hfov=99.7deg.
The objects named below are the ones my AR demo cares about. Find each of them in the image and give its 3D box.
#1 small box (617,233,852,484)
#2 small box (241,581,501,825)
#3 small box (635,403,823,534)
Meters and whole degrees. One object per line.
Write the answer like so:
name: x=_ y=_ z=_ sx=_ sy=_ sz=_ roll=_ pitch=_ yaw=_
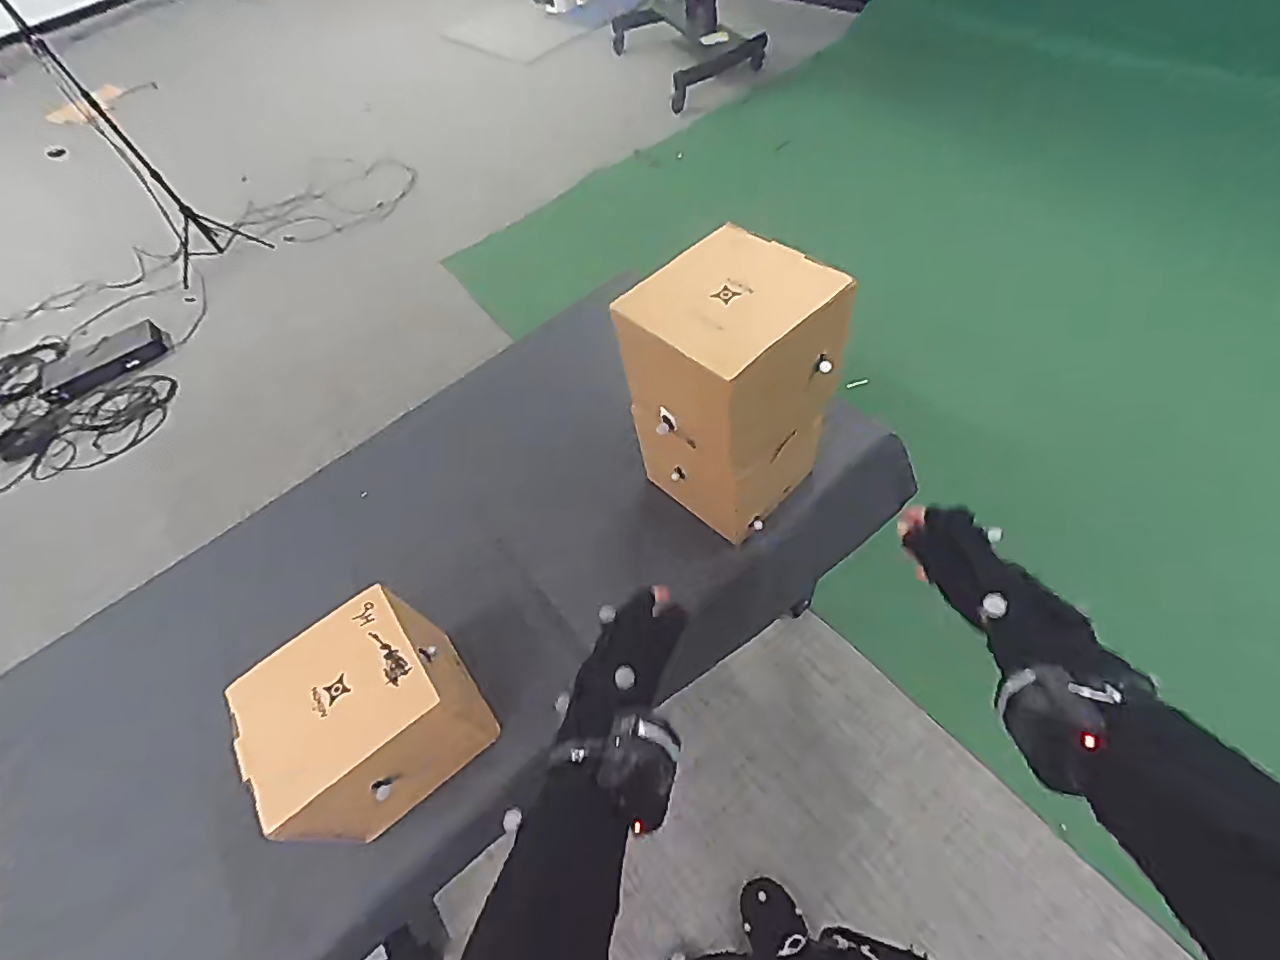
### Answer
small box: x=0.102 y=-0.132 z=0.602 sx=0.179 sy=0.176 sz=0.168 roll=-41 pitch=58 yaw=-15
small box: x=-0.288 y=0.254 z=0.605 sx=0.179 sy=0.176 sz=0.168 roll=-36 pitch=57 yaw=-14
small box: x=0.120 y=-0.049 z=0.739 sx=0.168 sy=0.176 sz=0.179 roll=-42 pitch=59 yaw=-17
